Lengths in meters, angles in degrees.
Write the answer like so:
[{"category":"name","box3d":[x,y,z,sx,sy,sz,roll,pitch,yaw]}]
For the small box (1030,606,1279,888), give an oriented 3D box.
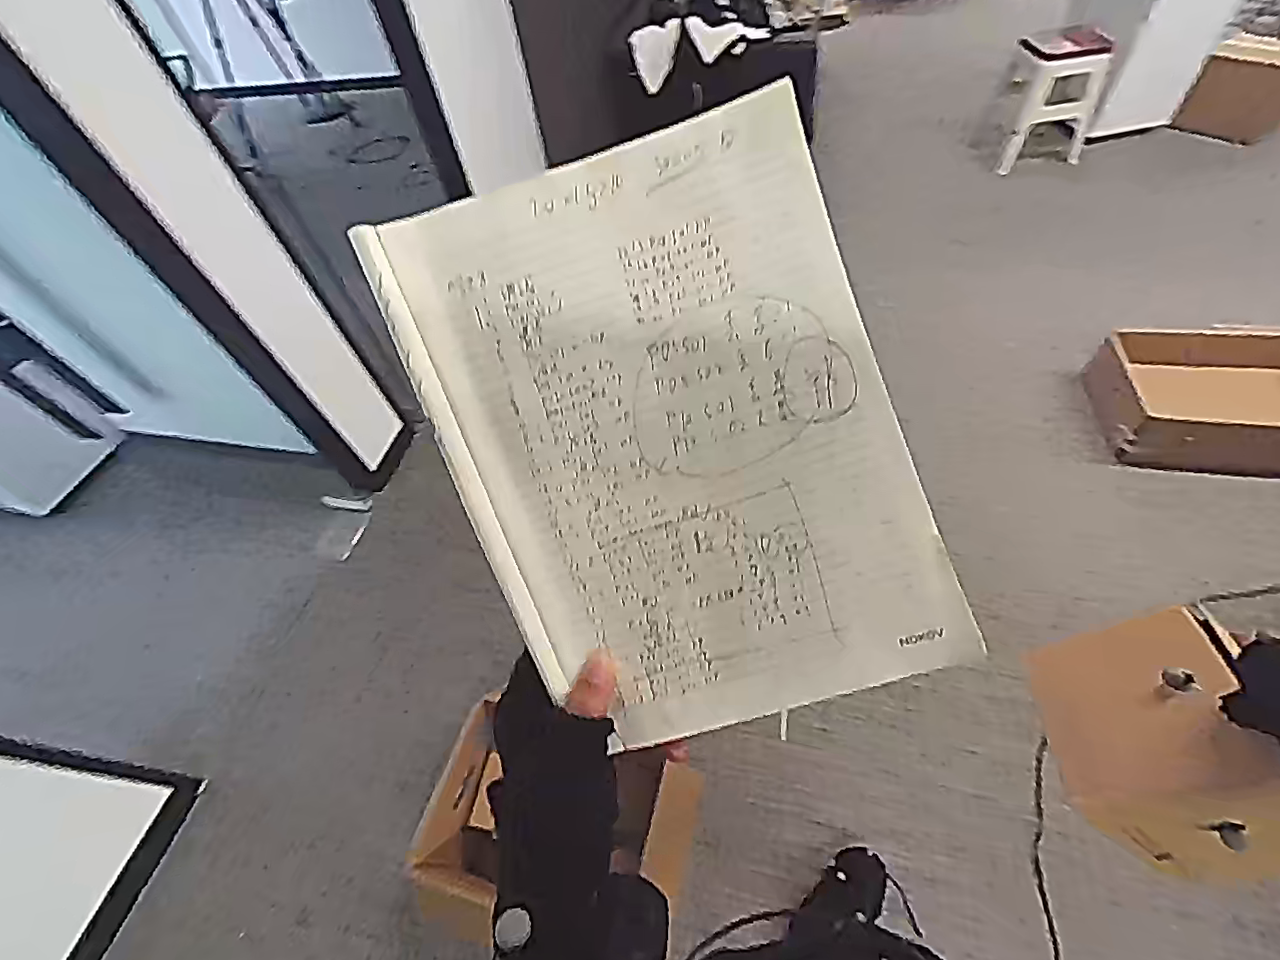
[{"category":"small box","box3d":[0.536,0.265,0.531,0.168,0.176,0.179,38,38,-12]}]
